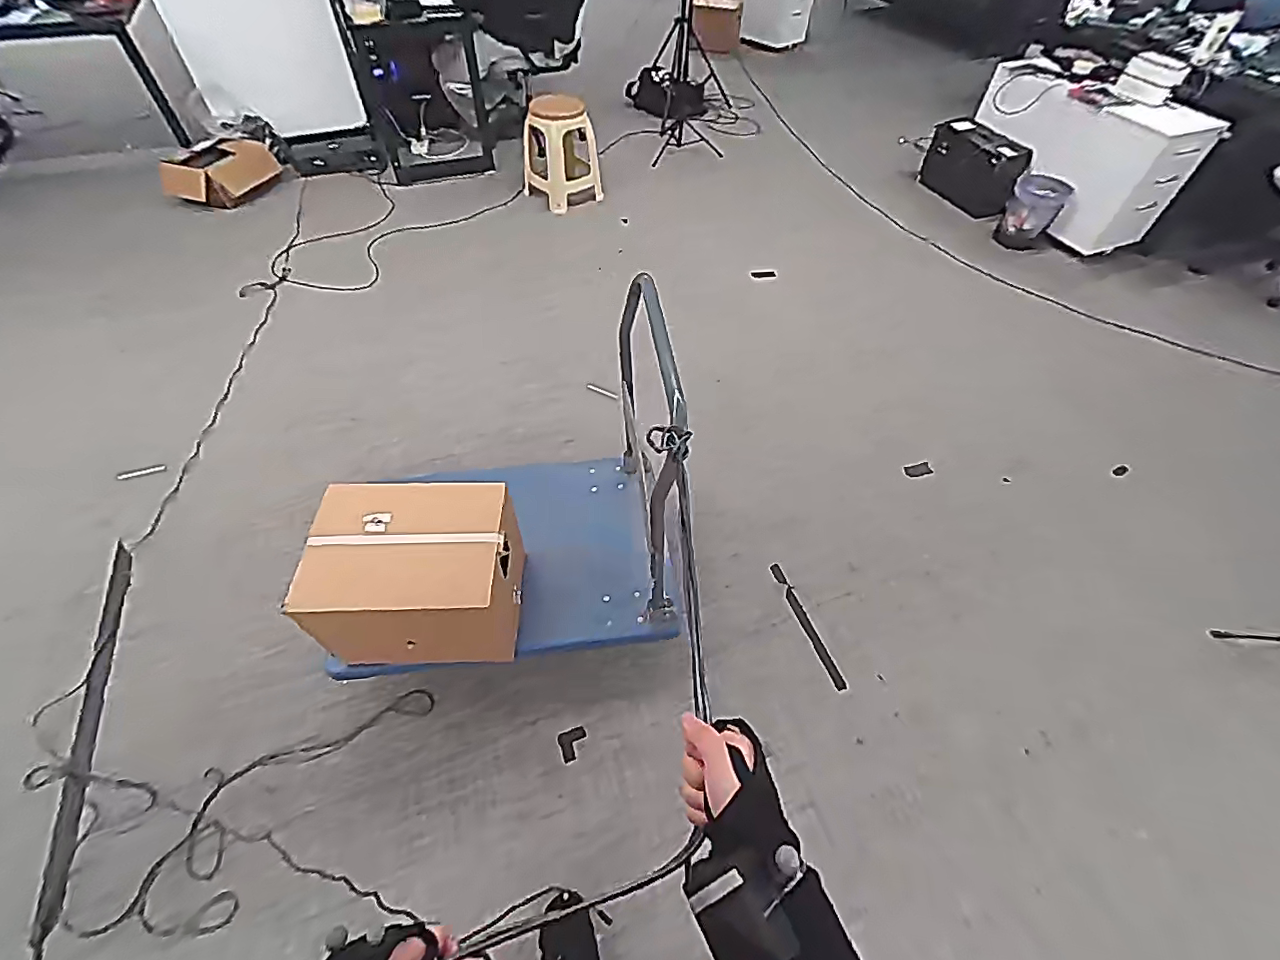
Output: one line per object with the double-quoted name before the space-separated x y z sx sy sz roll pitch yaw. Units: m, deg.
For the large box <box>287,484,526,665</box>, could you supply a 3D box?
"large box" -0.495 0.226 1.260 0.408 0.320 0.320 -1 52 -2
